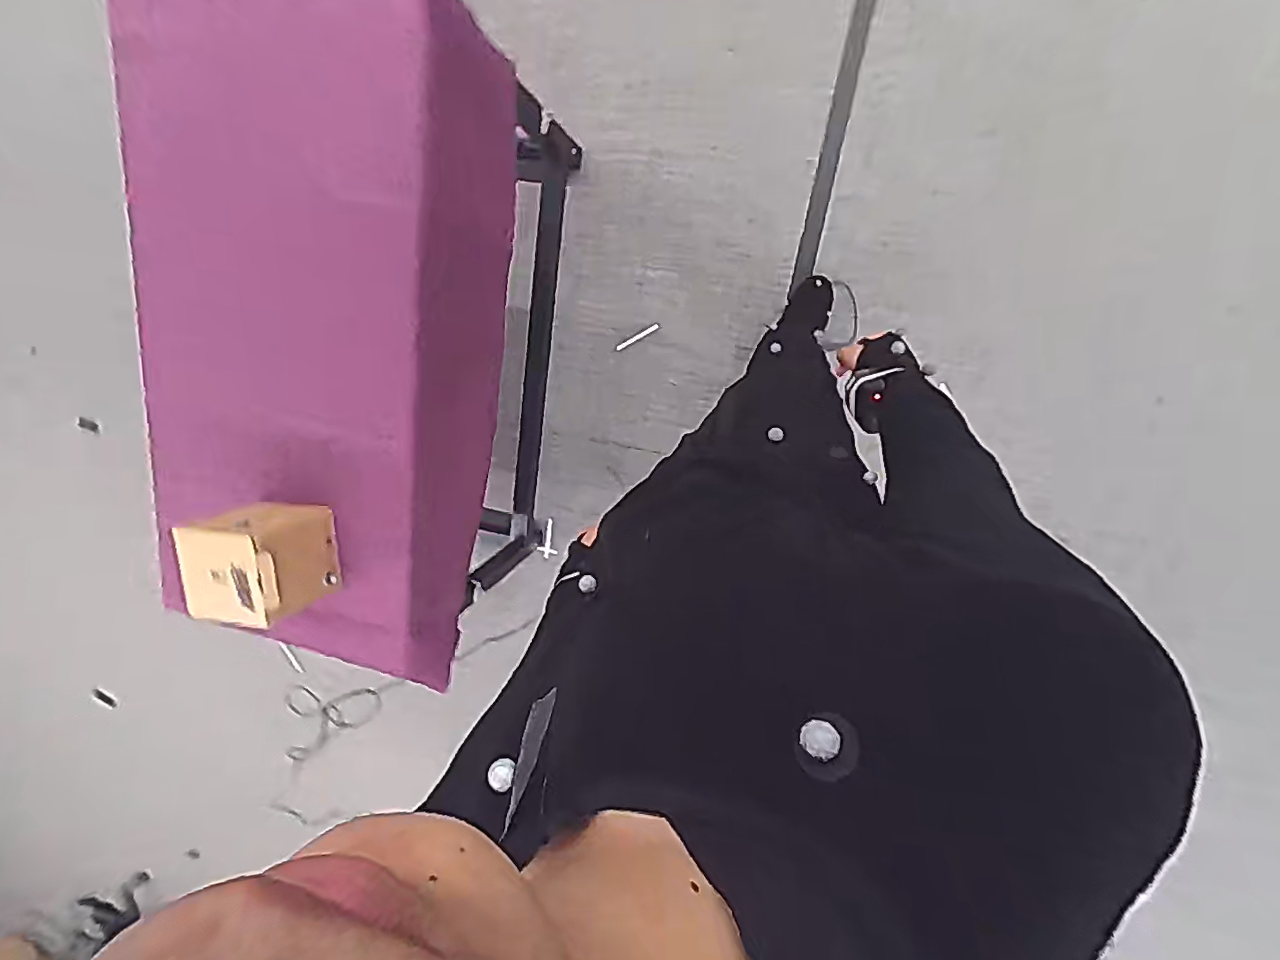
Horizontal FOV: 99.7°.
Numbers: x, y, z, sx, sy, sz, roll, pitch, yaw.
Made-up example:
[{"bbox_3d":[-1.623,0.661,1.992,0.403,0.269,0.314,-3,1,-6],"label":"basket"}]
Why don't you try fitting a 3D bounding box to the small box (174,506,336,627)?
[{"bbox_3d":[-0.690,0.149,0.992,0.179,0.176,0.168,3,103,14],"label":"small box"}]
